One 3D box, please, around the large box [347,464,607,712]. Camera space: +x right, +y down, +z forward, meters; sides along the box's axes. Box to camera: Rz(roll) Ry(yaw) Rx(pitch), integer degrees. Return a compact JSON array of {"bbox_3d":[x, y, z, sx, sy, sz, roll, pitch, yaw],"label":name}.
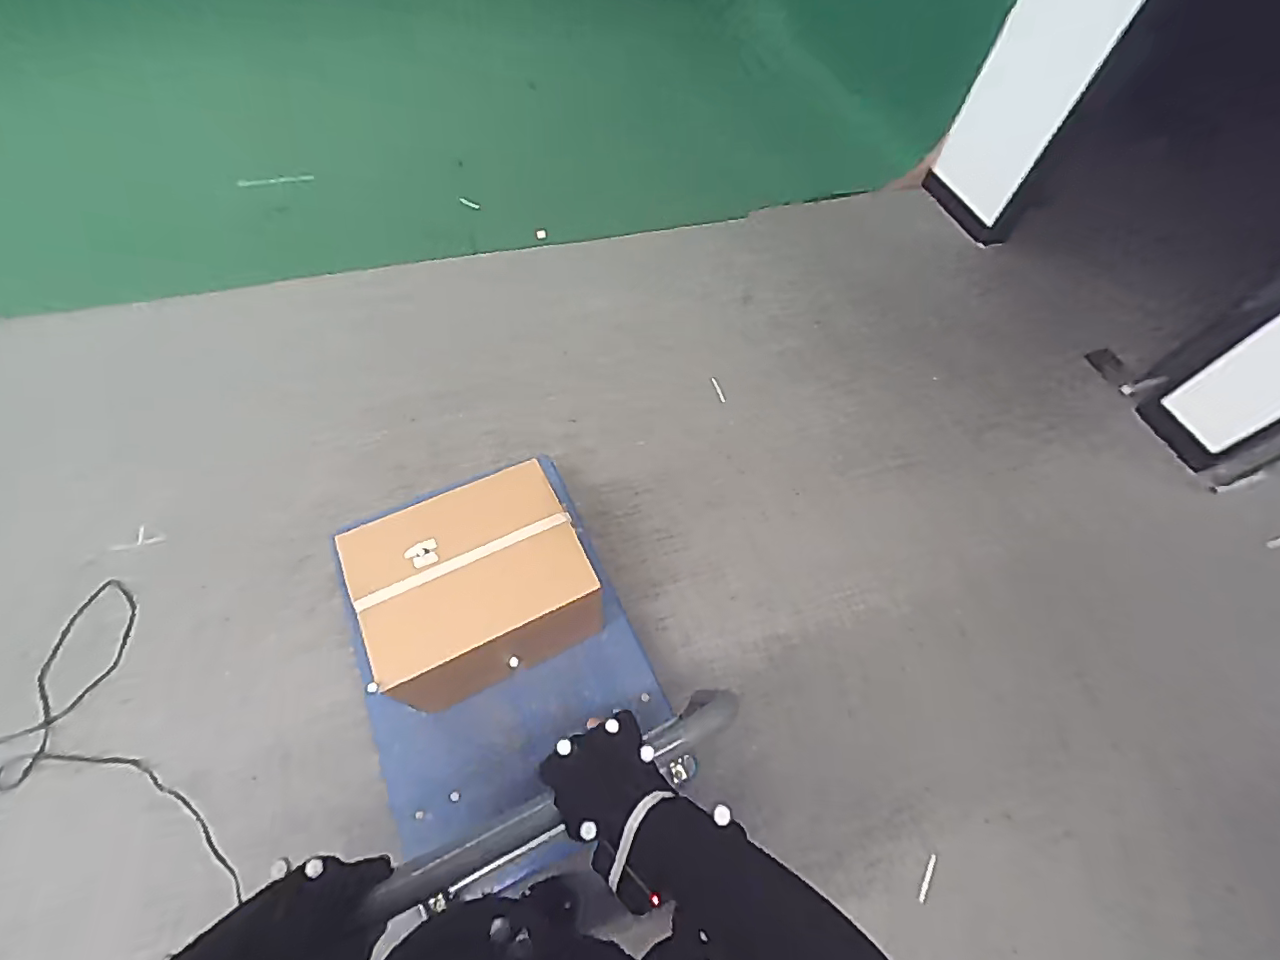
[{"bbox_3d":[-0.314,0.232,1.135,0.408,0.320,0.320,-24,64,-16],"label":"large box"}]
